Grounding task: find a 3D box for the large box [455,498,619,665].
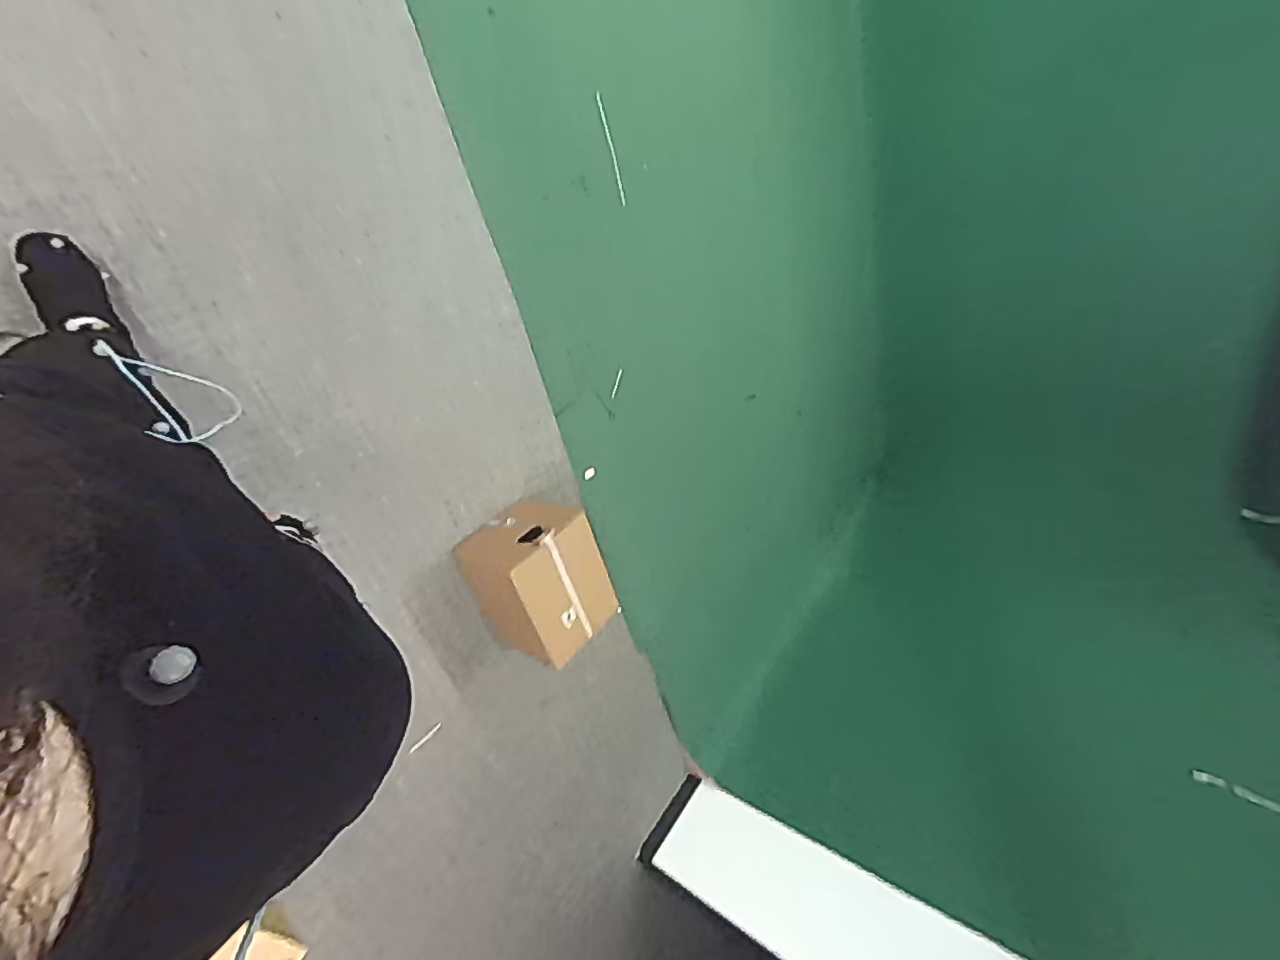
[{"bbox_3d":[-0.328,0.317,1.771,0.320,0.320,0.408,-41,126,-37],"label":"large box"}]
